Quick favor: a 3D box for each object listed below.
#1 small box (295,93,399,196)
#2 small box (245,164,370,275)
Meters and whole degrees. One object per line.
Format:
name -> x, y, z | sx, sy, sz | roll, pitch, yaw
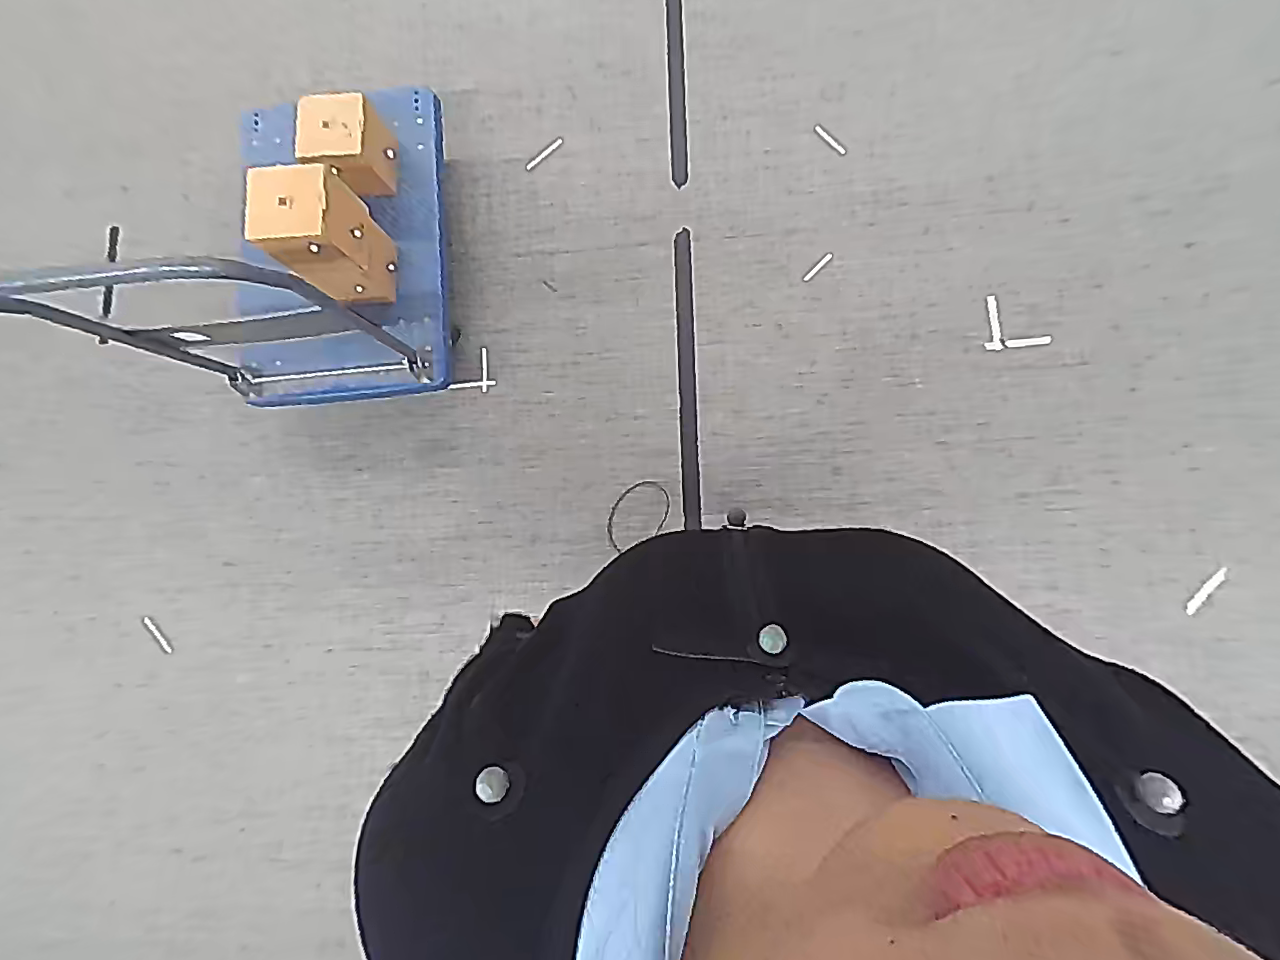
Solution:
small box -> -0.762, -0.869, 1.418 | 0.179, 0.176, 0.168 | 0, 85, 4
small box -> -0.745, -0.580, 1.225 | 0.179, 0.176, 0.168 | -2, 84, 3
